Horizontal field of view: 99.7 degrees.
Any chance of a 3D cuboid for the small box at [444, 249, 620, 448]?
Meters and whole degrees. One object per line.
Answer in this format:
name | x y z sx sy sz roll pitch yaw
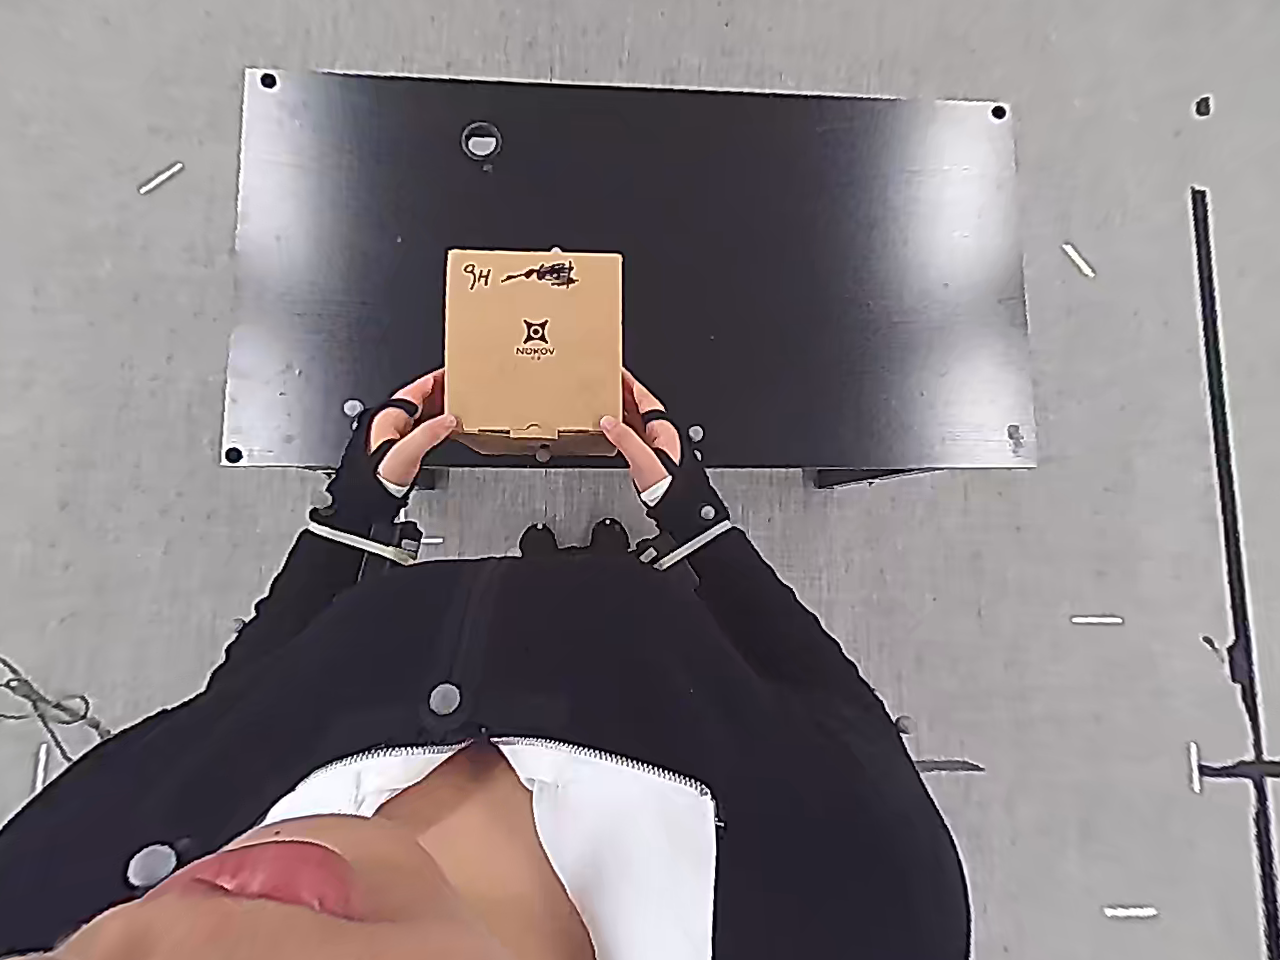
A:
small box | -0.105 -0.129 0.591 0.168 0.176 0.179 0 87 -3
